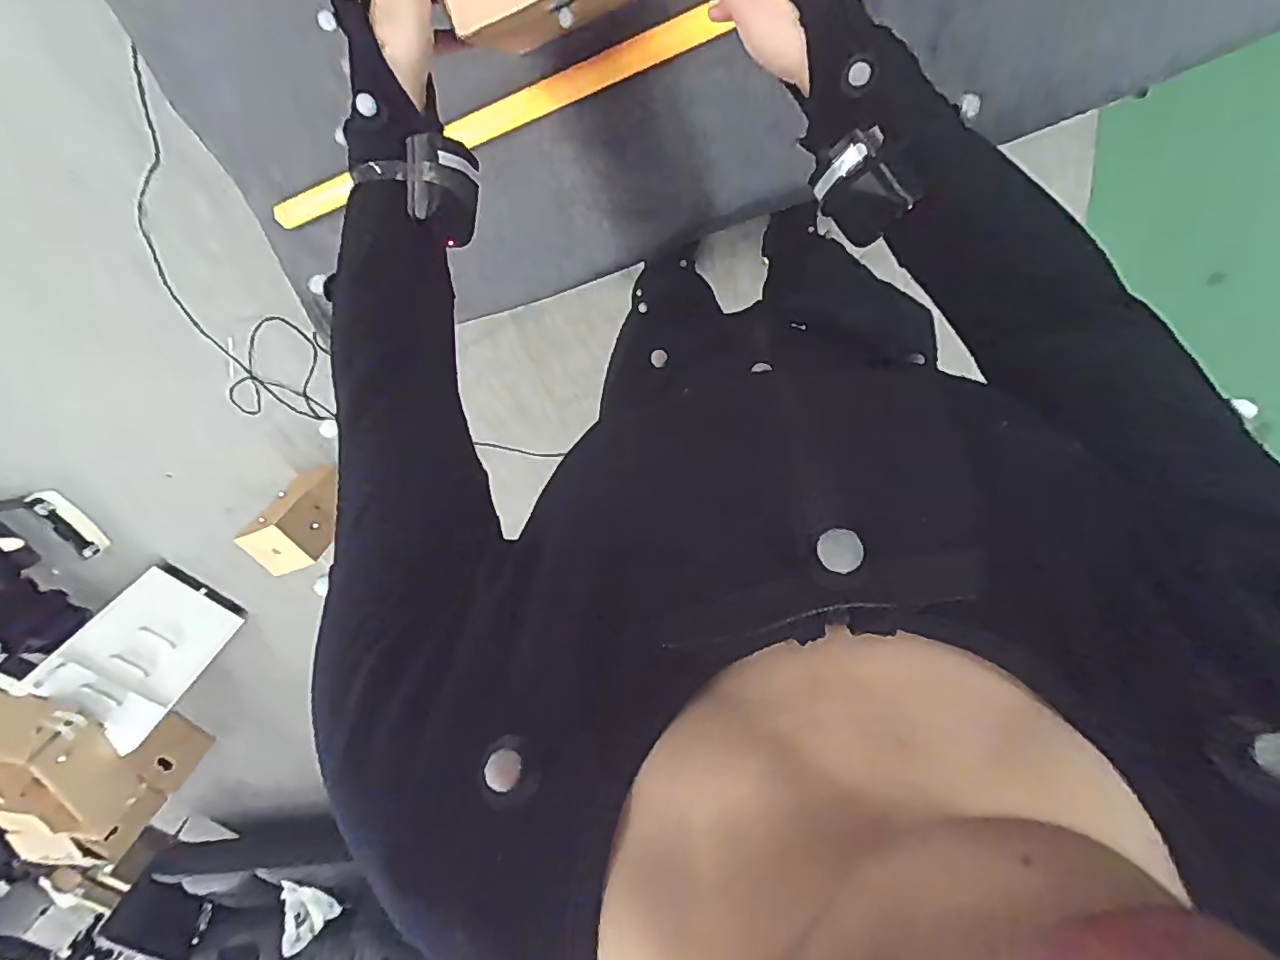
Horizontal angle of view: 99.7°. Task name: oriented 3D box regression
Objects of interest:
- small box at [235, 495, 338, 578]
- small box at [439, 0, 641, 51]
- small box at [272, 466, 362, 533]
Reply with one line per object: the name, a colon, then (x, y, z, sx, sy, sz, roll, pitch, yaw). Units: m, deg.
small box: (-1.066, 0.169, 1.654, 0.179, 0.176, 0.168, -18, 122, 19)
small box: (-0.068, -0.443, 0.392, 0.179, 0.176, 0.168, -13, 124, 15)
small box: (-1.057, 0.077, 1.791, 0.179, 0.176, 0.168, -16, 123, 18)
